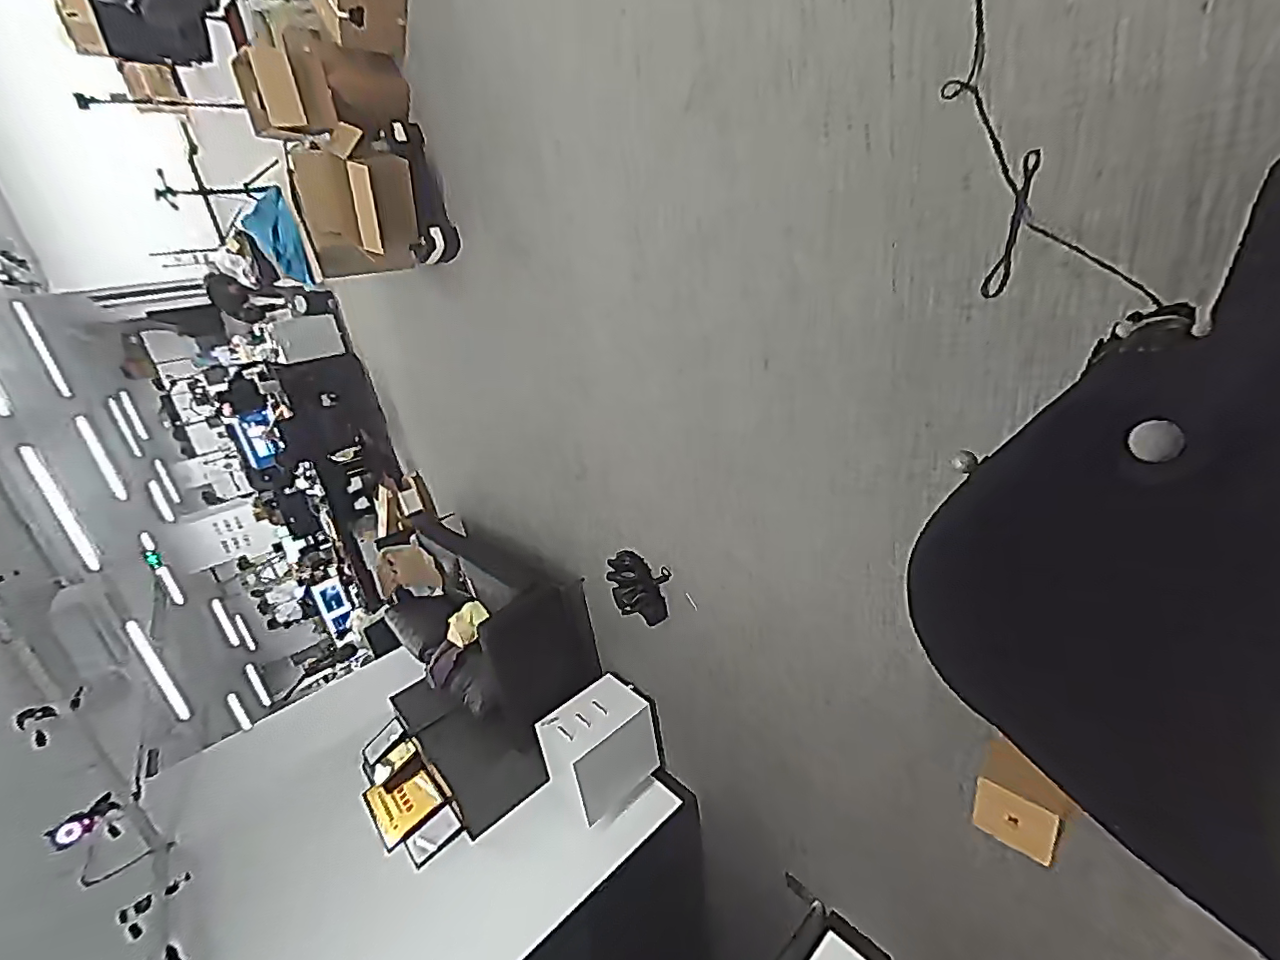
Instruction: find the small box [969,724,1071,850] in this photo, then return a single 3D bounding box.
[{"bbox_3d":[0.952,0.760,1.355,0.168,0.176,0.179,16,122,46],"label":"small box"}]
